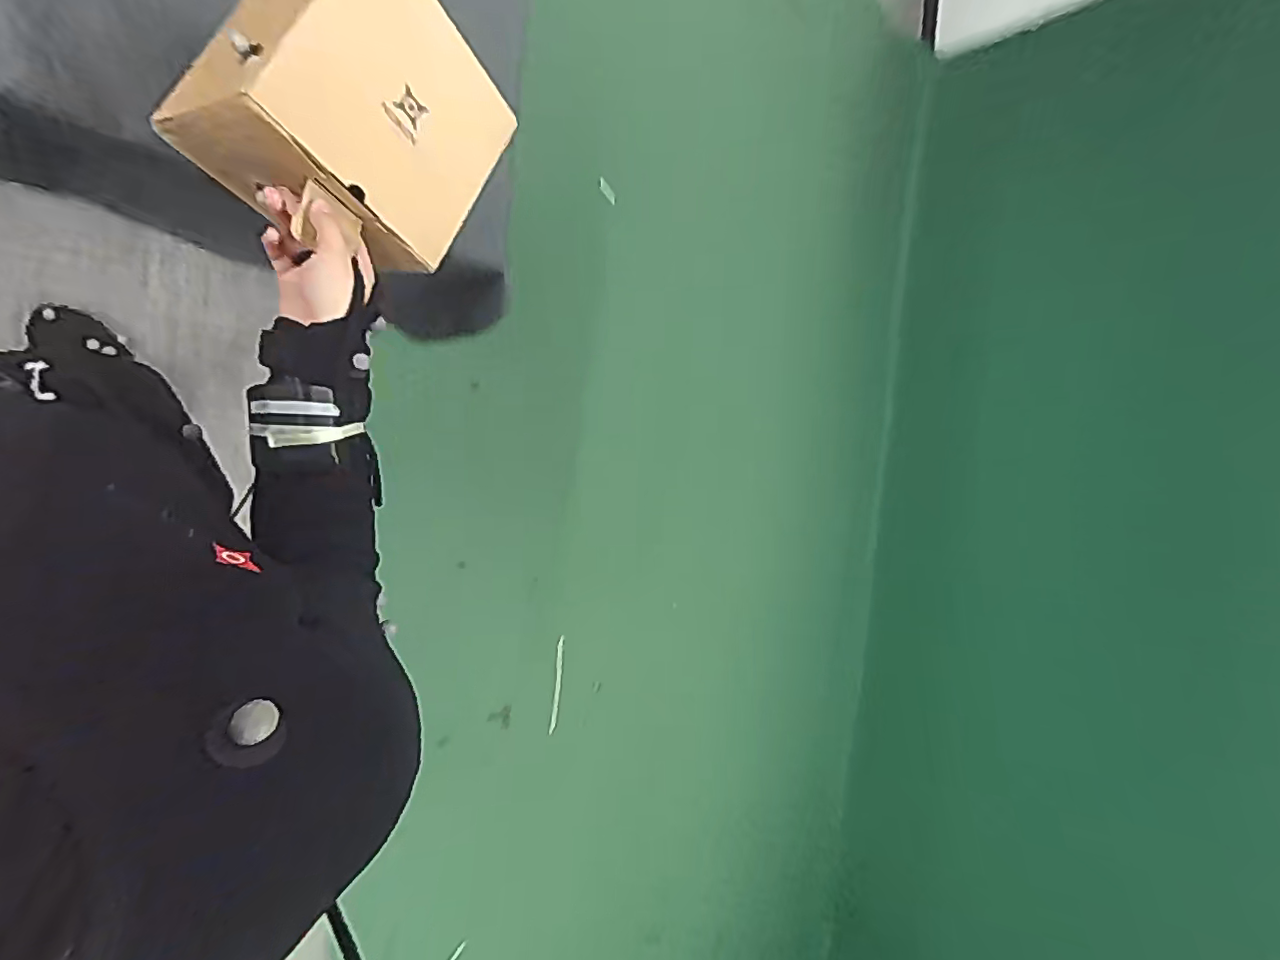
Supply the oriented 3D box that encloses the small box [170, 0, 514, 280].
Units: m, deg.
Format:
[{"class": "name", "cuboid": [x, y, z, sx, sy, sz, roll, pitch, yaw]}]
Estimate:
[{"class": "small box", "cuboid": [-0.249, -0.301, 0.466, 0.168, 0.176, 0.179, 39, 71, -57]}]
